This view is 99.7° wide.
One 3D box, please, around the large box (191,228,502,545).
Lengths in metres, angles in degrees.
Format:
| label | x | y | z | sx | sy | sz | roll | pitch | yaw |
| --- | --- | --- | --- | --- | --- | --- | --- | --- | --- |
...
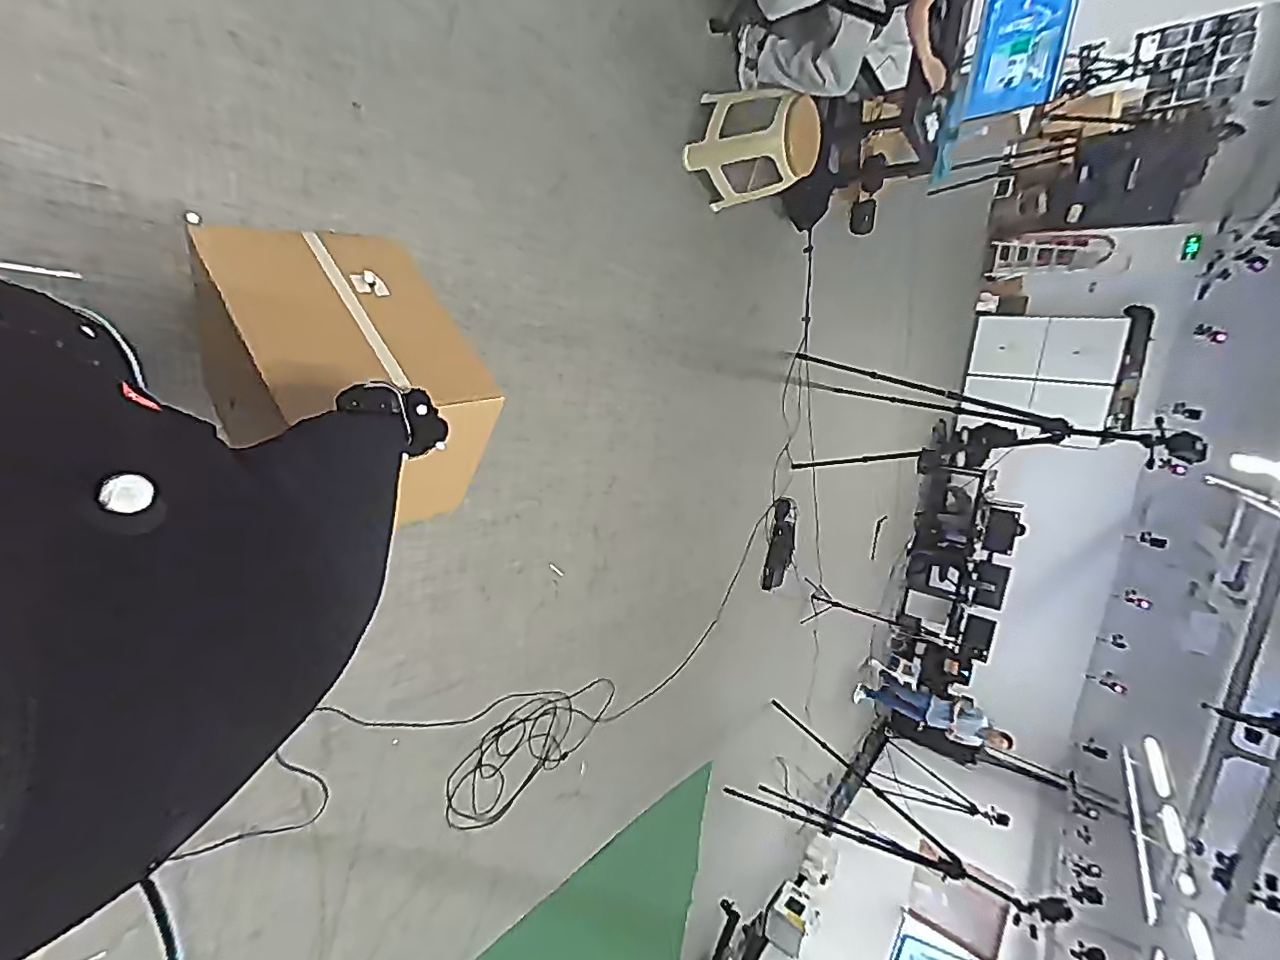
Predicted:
| label | x | y | z | sx | sy | sz | roll | pitch | yaw |
| --- | --- | --- | --- | --- | --- | --- | --- | --- | --- |
| large box | -0.505 | -0.166 | 0.934 | 0.320 | 0.408 | 0.320 | -19 | 154 | -44 |
